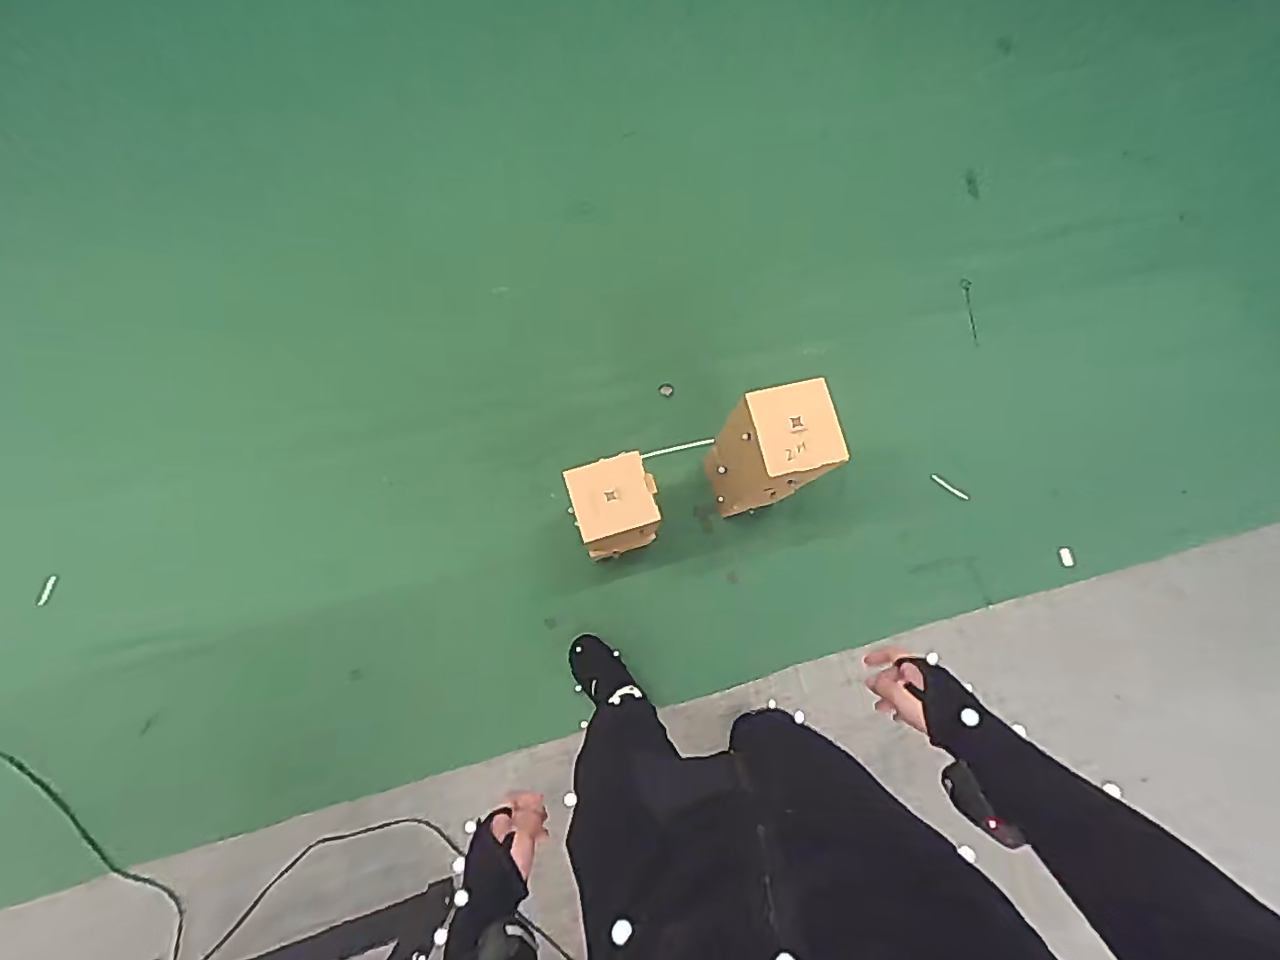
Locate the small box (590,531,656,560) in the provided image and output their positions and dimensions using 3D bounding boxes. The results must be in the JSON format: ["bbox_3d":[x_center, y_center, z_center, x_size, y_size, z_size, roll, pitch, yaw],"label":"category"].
[{"bbox_3d":[-0.063,0.103,1.393,0.168,0.176,0.179,-17,79,-6],"label":"small box"}]

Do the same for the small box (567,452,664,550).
[{"bbox_3d":[-0.058,0.054,1.237,0.179,0.176,0.168,-17,78,-6],"label":"small box"}]

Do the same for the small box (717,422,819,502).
[{"bbox_3d":[0.294,-0.050,1.276,0.168,0.176,0.179,-13,81,-7],"label":"small box"}]

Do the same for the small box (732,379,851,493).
[{"bbox_3d":[0.300,-0.084,1.115,0.168,0.176,0.179,-12,80,-6],"label":"small box"}]
